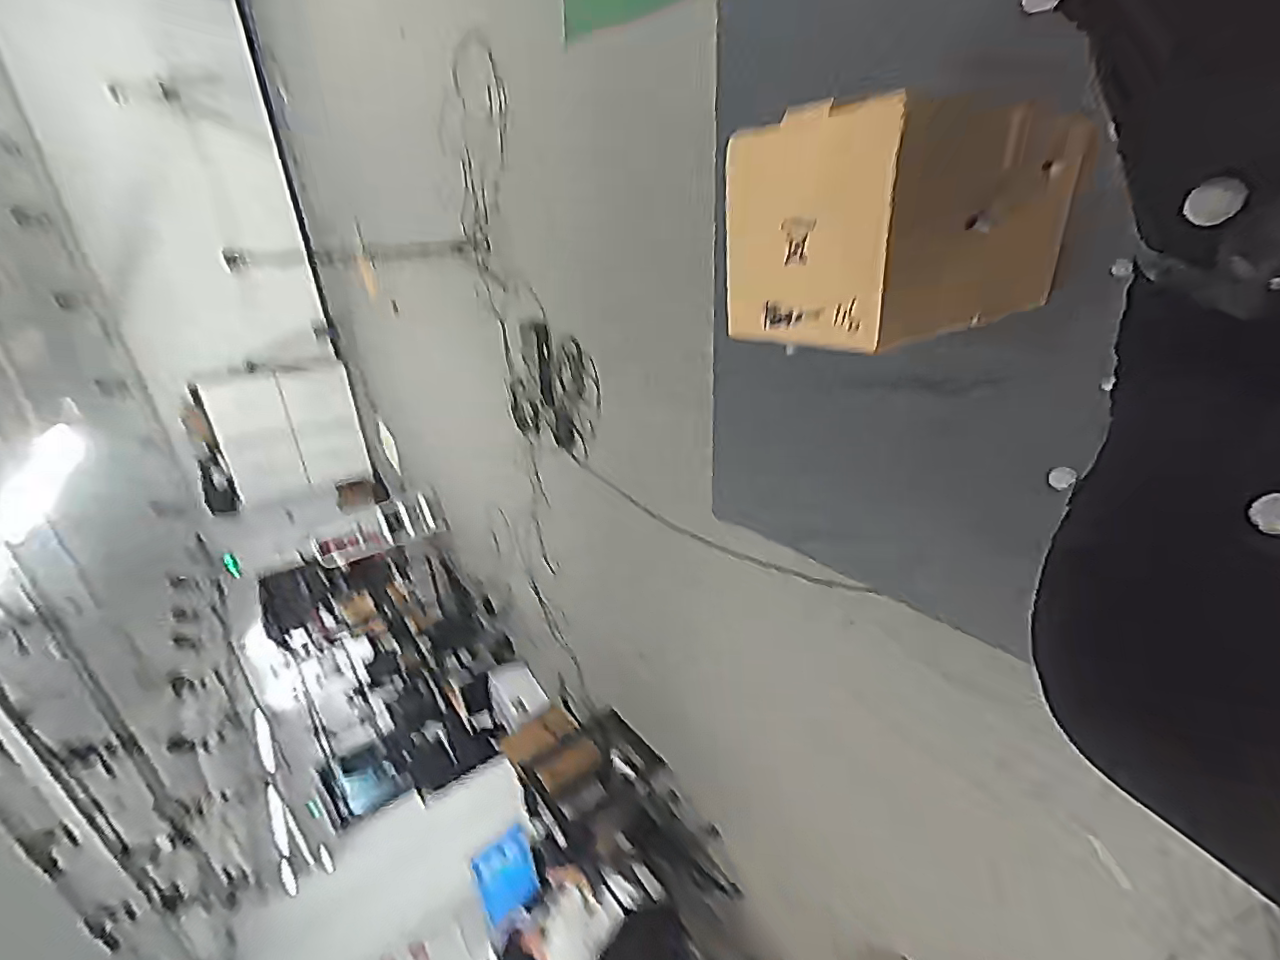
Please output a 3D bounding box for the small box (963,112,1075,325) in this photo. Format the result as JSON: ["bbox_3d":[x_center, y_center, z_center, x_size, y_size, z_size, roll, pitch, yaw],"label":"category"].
[{"bbox_3d":[0.332,-0.274,0.585,0.168,0.176,0.179,25,128,49],"label":"small box"}]

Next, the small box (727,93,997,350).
[{"bbox_3d":[0.199,-0.227,0.502,0.168,0.176,0.179,25,126,49],"label":"small box"}]
